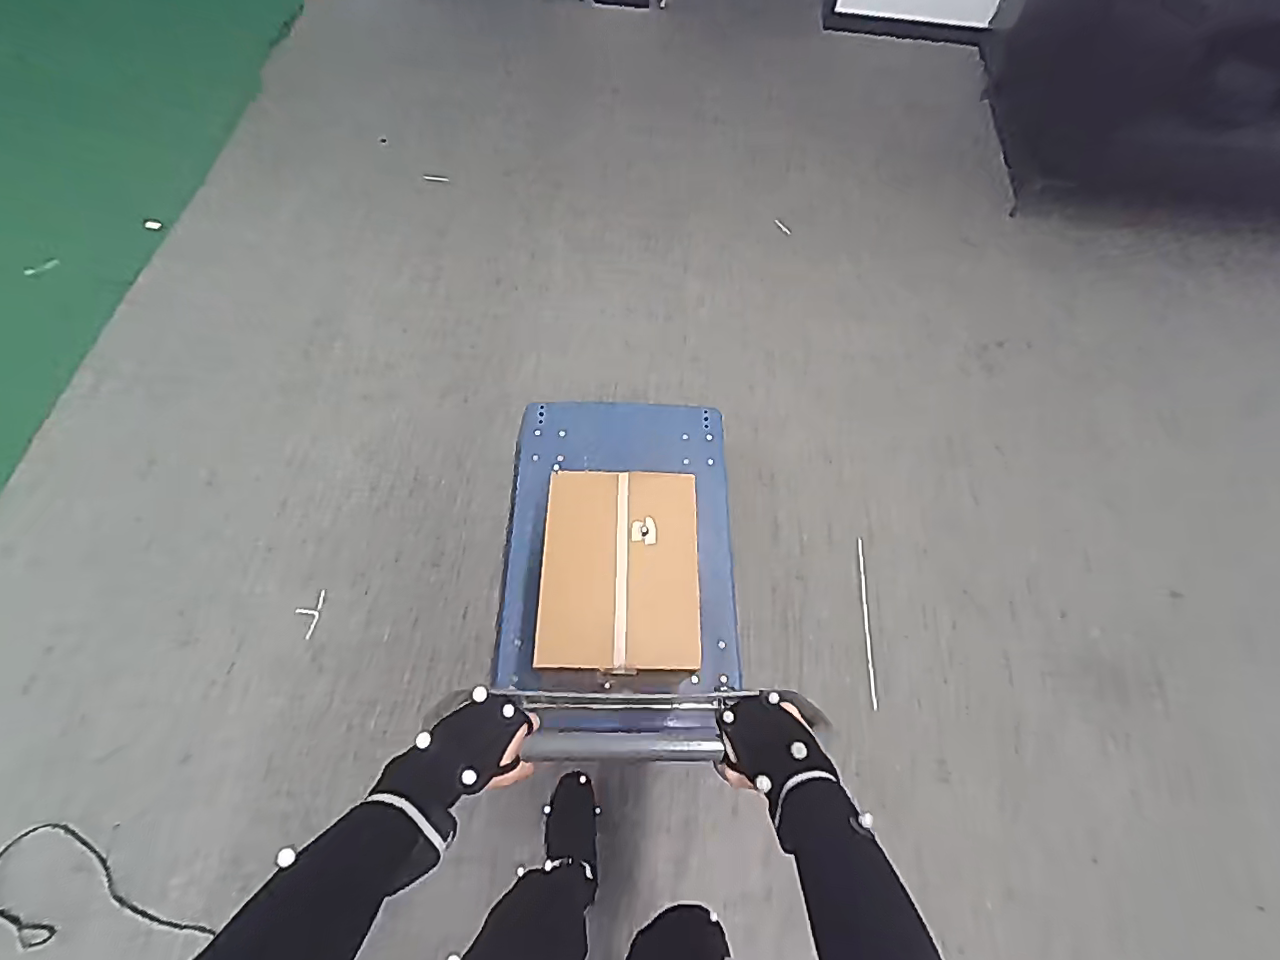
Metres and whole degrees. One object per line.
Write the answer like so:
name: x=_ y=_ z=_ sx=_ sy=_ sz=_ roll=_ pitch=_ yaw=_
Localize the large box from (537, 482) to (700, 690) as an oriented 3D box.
large box: x=-0.045 y=0.251 z=1.233 sx=0.320 sy=0.320 sz=0.408 roll=2 pitch=63 yaw=-2
